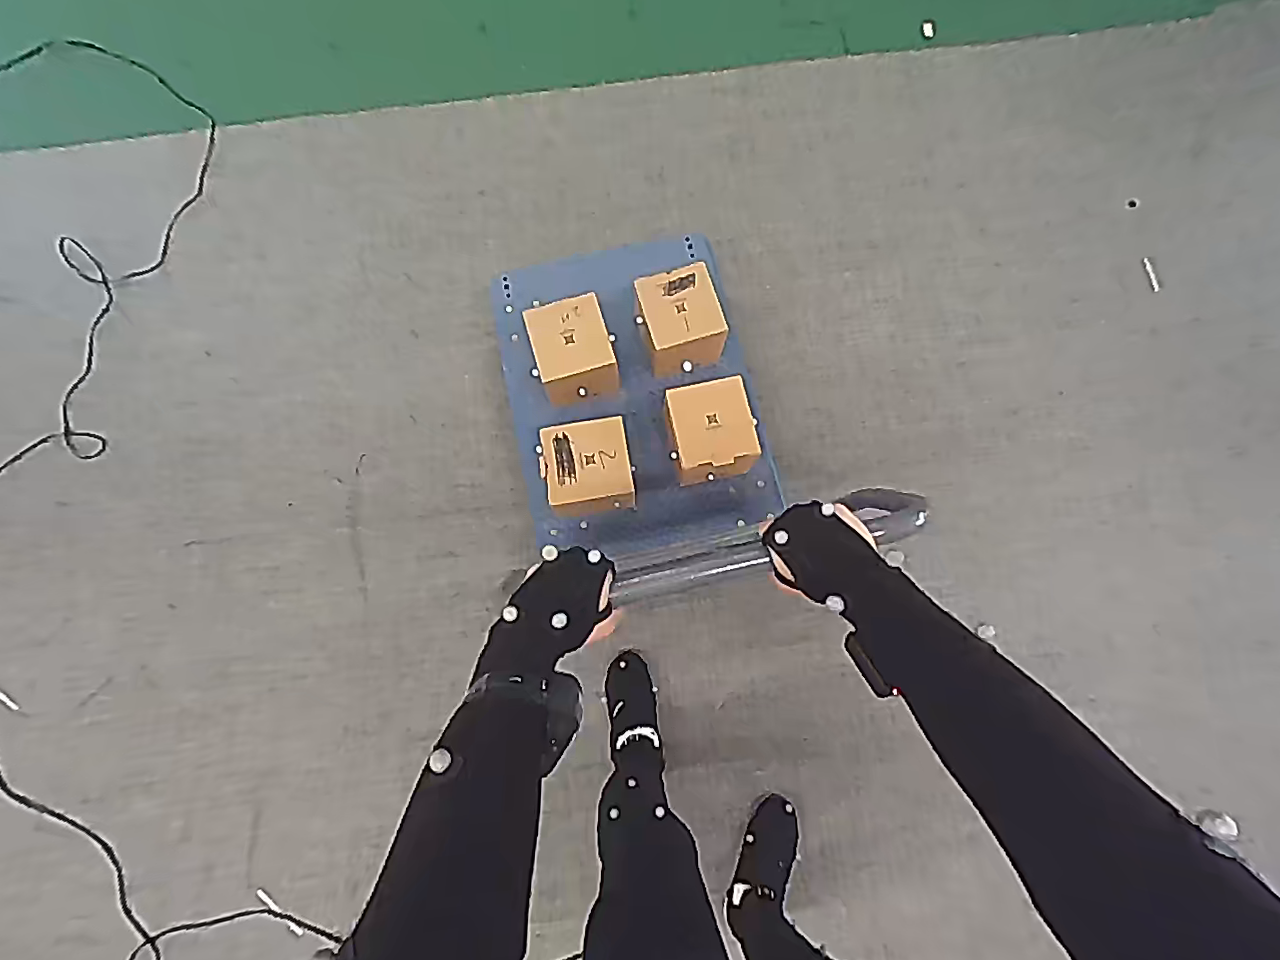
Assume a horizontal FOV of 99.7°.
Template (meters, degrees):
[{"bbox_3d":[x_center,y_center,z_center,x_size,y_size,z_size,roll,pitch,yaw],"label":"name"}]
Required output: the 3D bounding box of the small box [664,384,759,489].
[{"bbox_3d":[0.152,-0.092,1.216,0.168,0.176,0.179,-12,78,-2],"label":"small box"}]

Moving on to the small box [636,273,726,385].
[{"bbox_3d":[0.090,-0.349,1.274,0.168,0.176,0.179,-17,79,-2],"label":"small box"}]

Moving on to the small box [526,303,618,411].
[{"bbox_3d":[-0.151,-0.275,1.261,0.168,0.176,0.179,-16,77,-4],"label":"small box"}]
